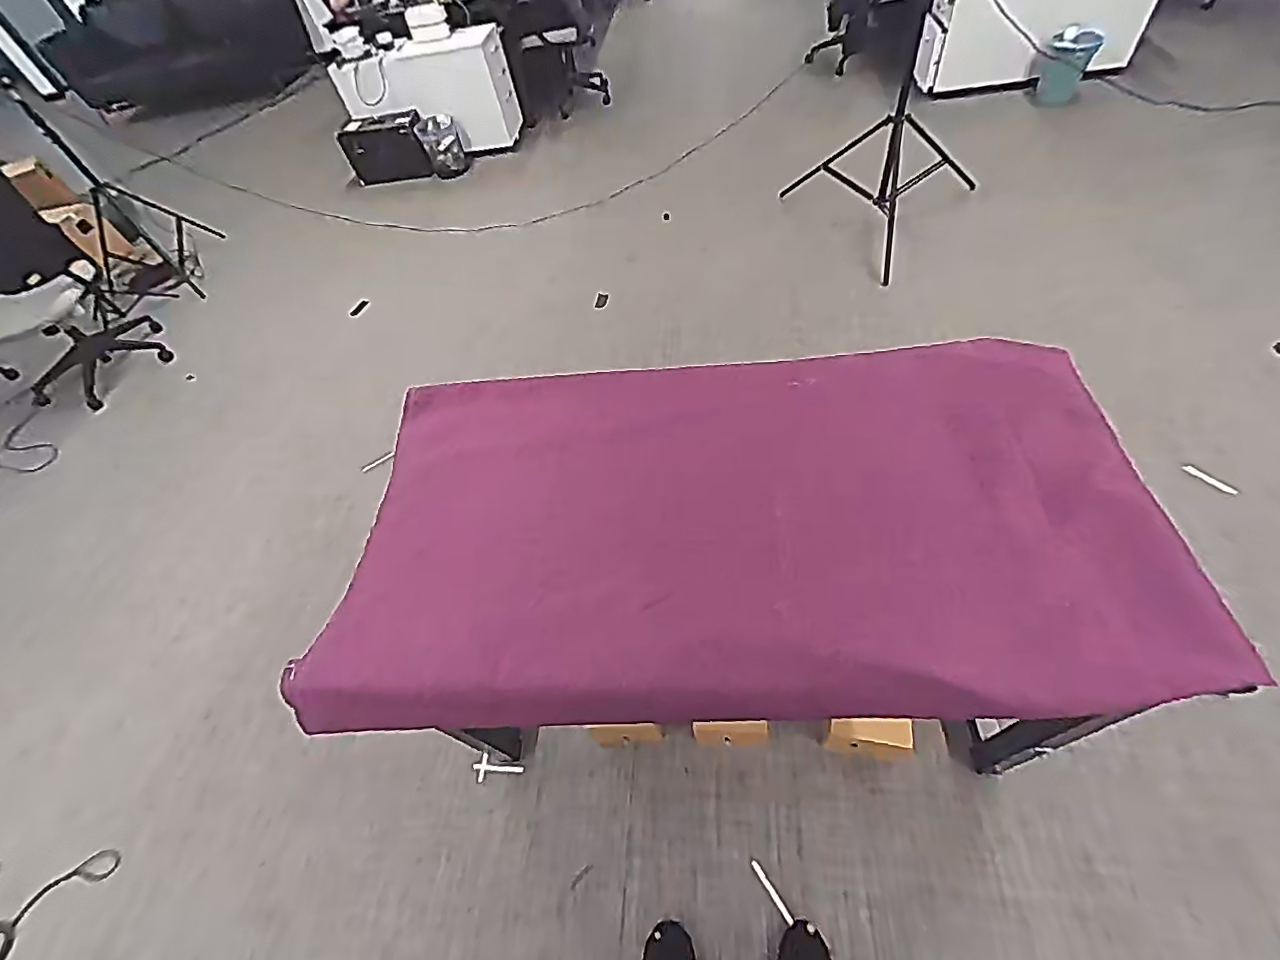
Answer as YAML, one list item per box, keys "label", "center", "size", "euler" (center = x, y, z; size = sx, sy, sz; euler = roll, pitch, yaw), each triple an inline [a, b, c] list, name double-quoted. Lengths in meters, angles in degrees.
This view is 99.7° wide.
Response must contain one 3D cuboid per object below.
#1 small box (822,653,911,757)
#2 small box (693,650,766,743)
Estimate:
- label: "small box"
  center: [0.524, 0.530, 1.267]
  size: [0.168, 0.176, 0.179]
  euler: [5, 54, 14]
- label: "small box"
  center: [0.220, 0.531, 1.319]
  size: [0.168, 0.176, 0.179]
  euler: [0, 53, 9]
